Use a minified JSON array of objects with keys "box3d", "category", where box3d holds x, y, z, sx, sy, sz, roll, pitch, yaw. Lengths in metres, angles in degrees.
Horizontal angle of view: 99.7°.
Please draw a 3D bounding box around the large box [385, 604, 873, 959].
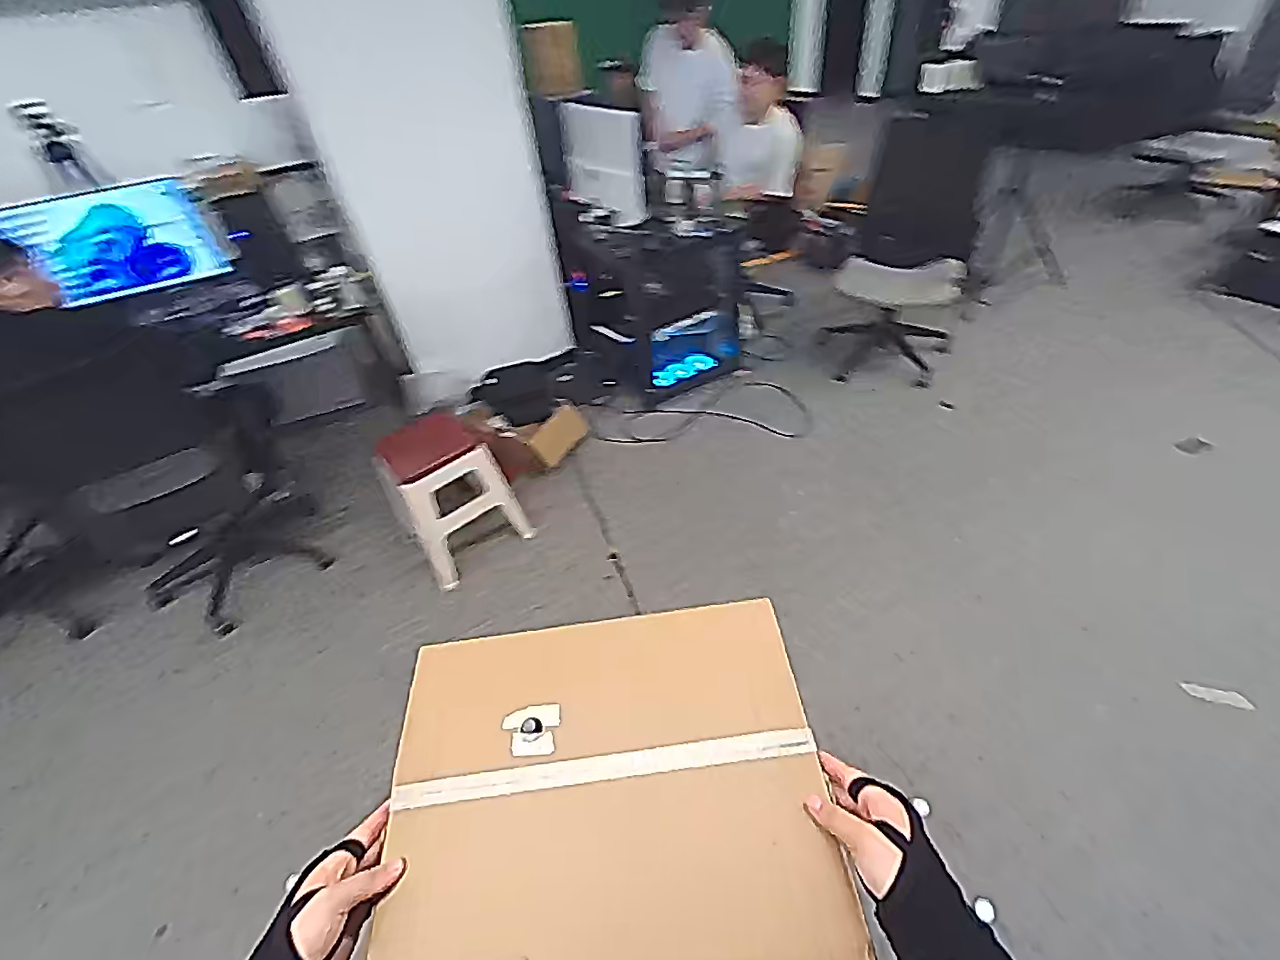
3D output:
[{"box3d":[-0.008,0.382,0.632,0.408,0.320,0.320,-9,47,2],"category":"large box"}]
